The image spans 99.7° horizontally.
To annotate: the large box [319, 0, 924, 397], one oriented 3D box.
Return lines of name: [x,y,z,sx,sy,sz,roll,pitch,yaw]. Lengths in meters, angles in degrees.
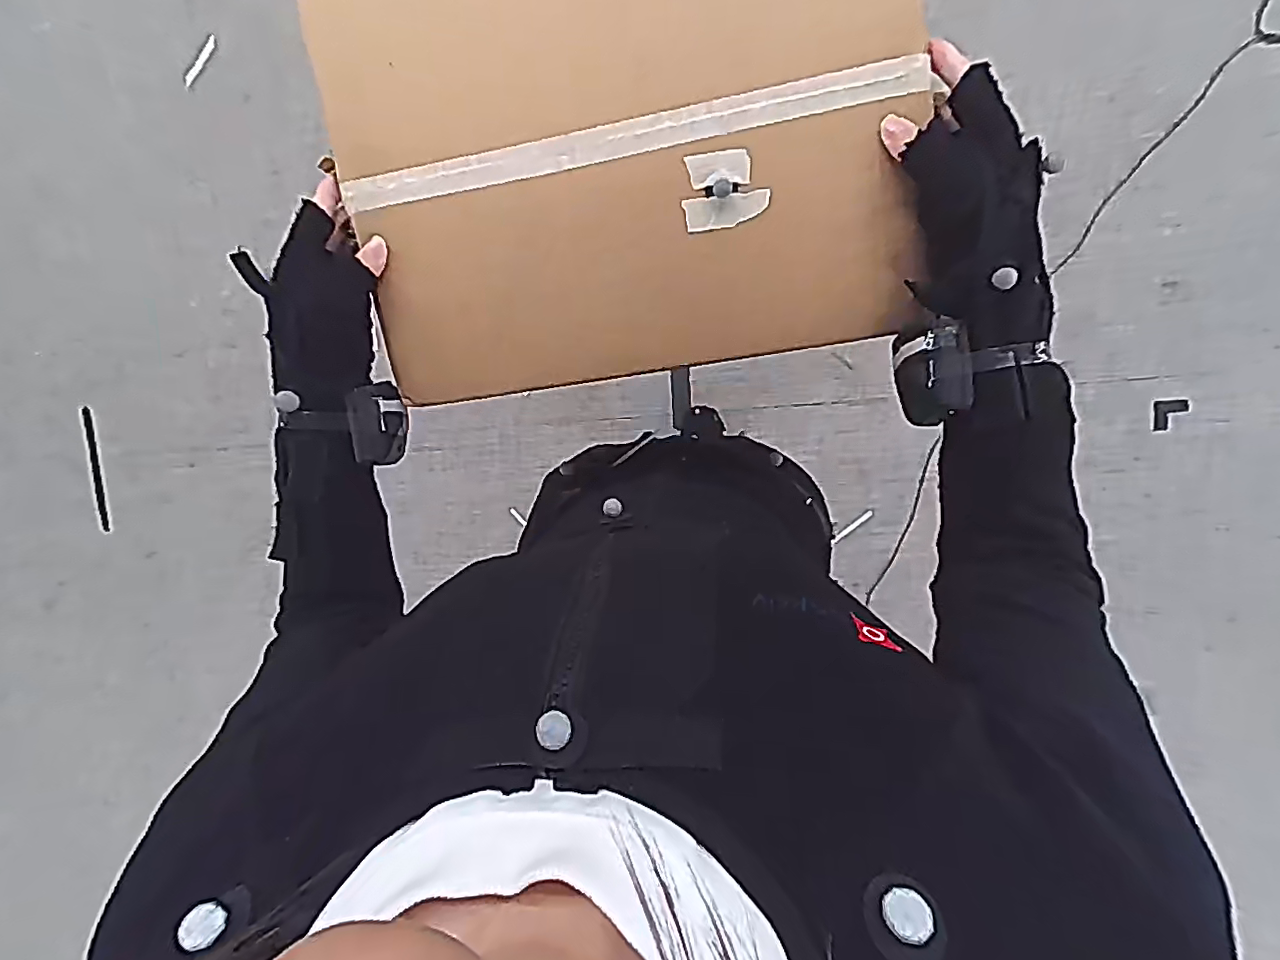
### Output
large box: [0.001,-0.279,0.529,0.408,0.320,0.320,-8,105,7]
